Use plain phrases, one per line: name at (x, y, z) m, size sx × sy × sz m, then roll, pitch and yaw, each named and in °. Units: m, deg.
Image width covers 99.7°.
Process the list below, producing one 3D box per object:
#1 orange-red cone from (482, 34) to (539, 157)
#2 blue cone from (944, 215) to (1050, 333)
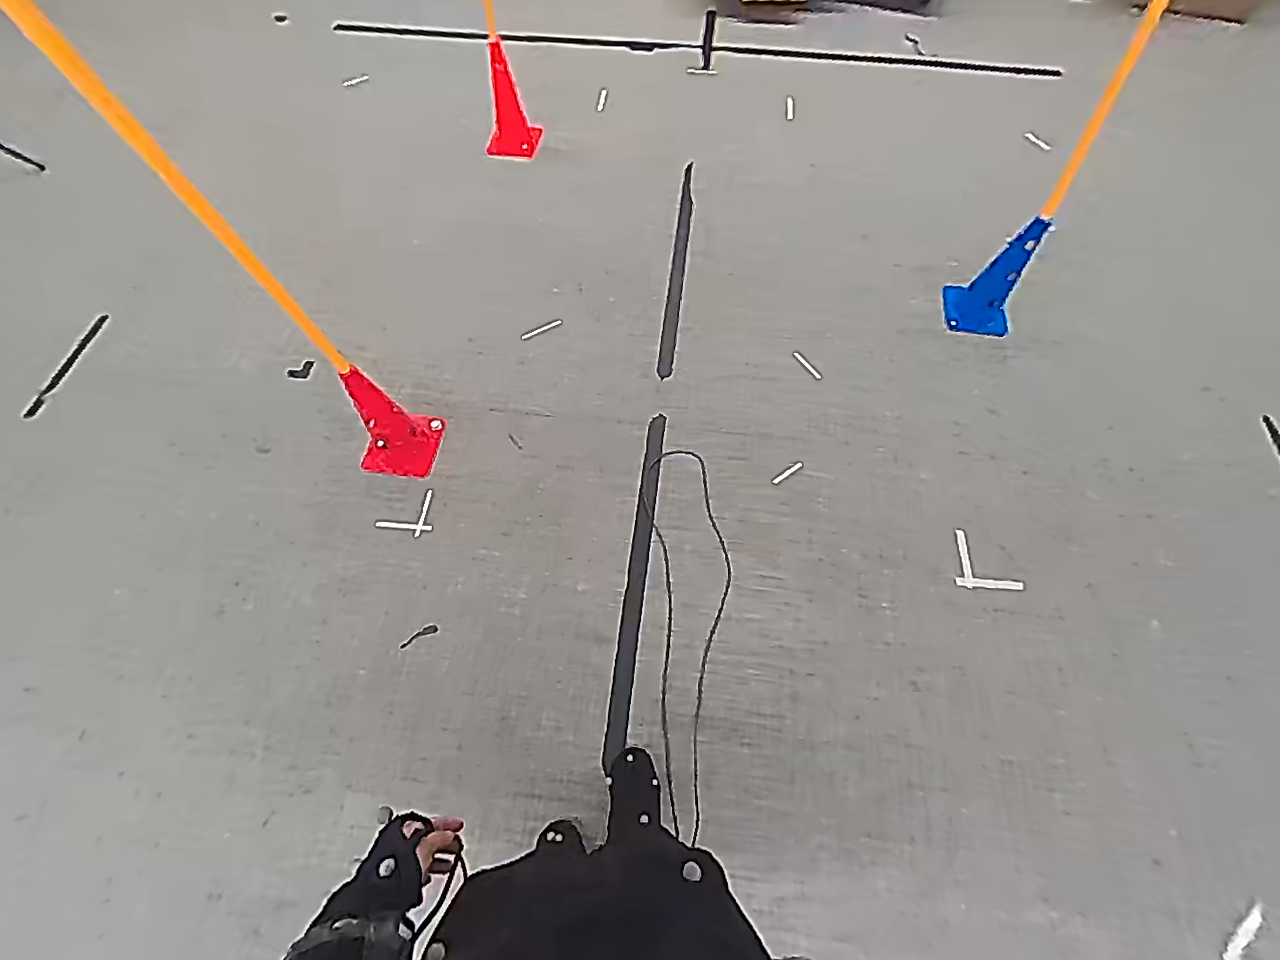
orange-red cone at (-0.517, -1.441, 2.010) m, size 0.198 × 0.360 × 0.199 m, roll 9°, pitch 64°, yaw 4°
blue cone at (1.112, -0.647, 1.655) m, size 0.193 × 0.380 × 0.192 m, roll 9°, pitch 65°, yaw 4°
